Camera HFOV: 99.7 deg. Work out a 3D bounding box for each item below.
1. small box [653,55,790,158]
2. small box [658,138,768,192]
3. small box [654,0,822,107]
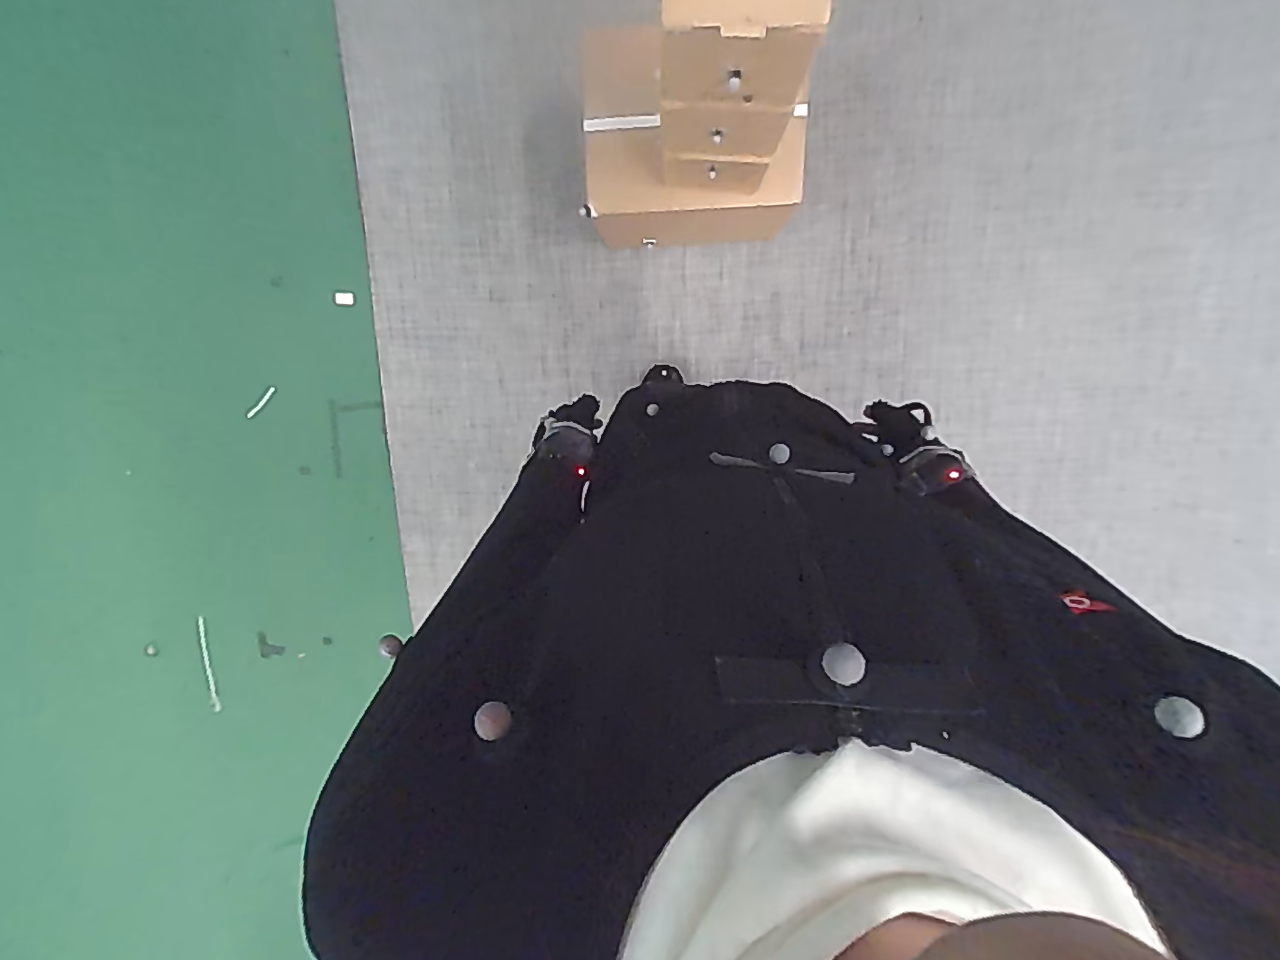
[{"bbox_3d":[0.116,-0.570,0.757,0.179,0.176,0.168,5,104,5],"label":"small box"},{"bbox_3d":[0.125,-0.602,0.917,0.179,0.176,0.168,4,104,2],"label":"small box"},{"bbox_3d":[0.108,-0.542,0.595,0.168,0.176,0.179,4,104,3],"label":"small box"}]
